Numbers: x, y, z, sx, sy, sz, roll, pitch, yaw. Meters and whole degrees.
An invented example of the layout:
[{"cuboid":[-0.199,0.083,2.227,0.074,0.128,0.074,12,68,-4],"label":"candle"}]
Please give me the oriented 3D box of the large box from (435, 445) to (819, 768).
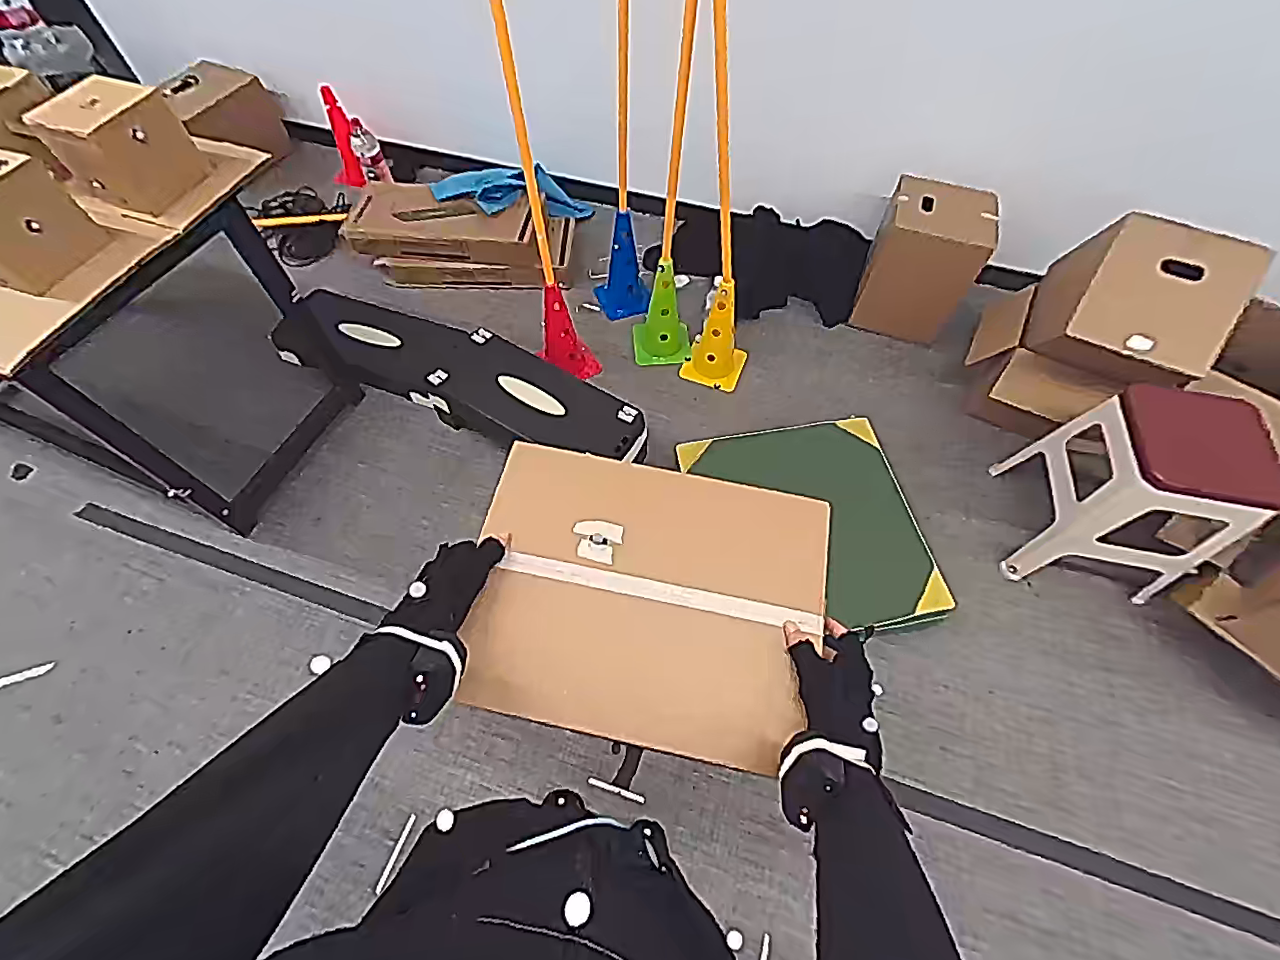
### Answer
[{"cuboid":[0.003,0.186,0.761,0.408,0.320,0.320,11,64,5],"label":"large box"}]
